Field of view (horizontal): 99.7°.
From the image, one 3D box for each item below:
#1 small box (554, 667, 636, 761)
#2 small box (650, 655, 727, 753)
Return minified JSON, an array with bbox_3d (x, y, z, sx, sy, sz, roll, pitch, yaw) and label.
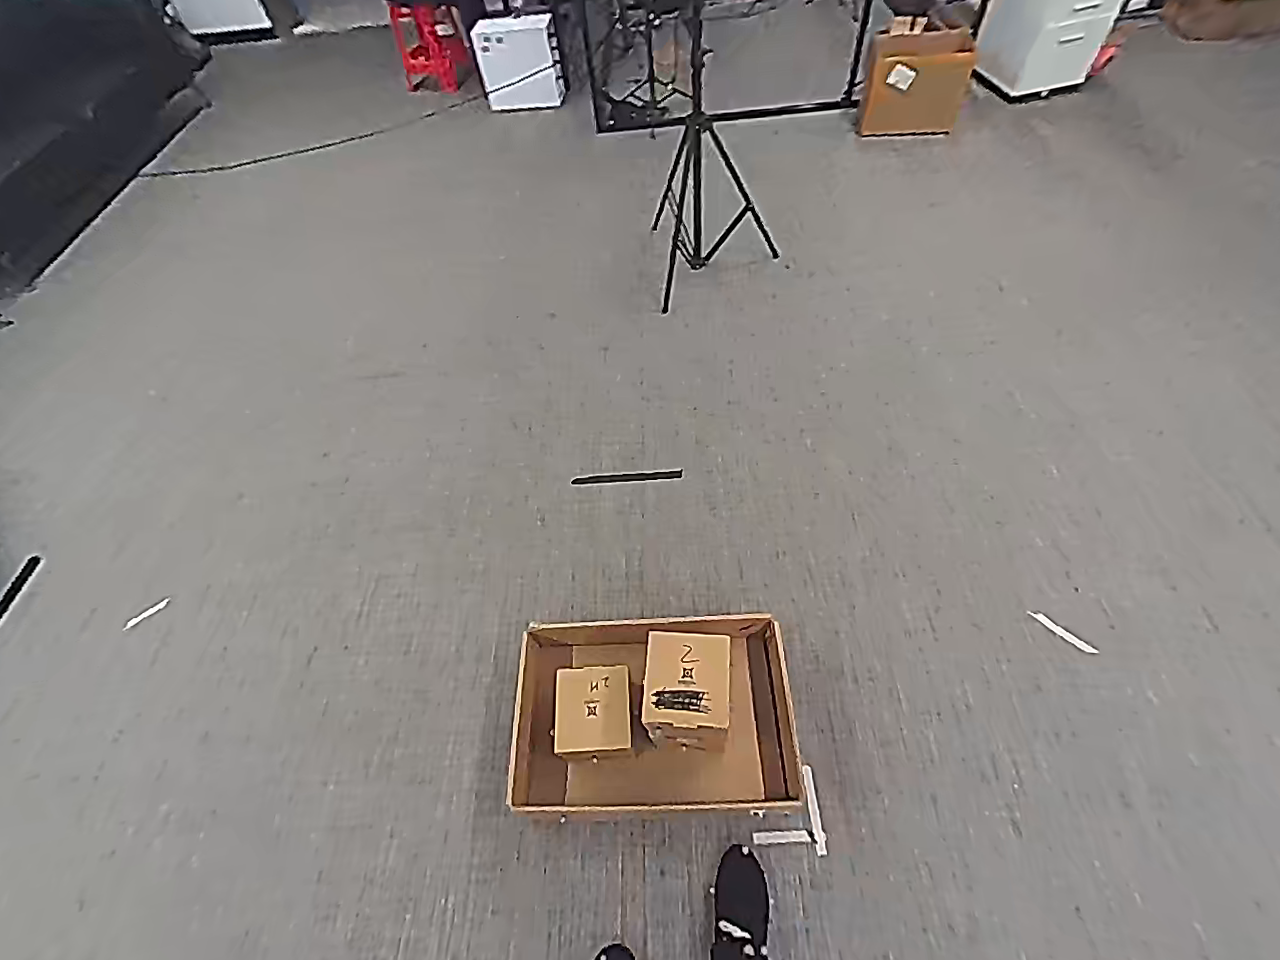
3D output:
[{"bbox_3d":[-0.099,0.545,1.249,0.168,0.176,0.179,-4,56,1],"label":"small box"},{"bbox_3d":[0.116,0.519,1.249,0.168,0.176,0.179,-1,57,8],"label":"small box"}]
